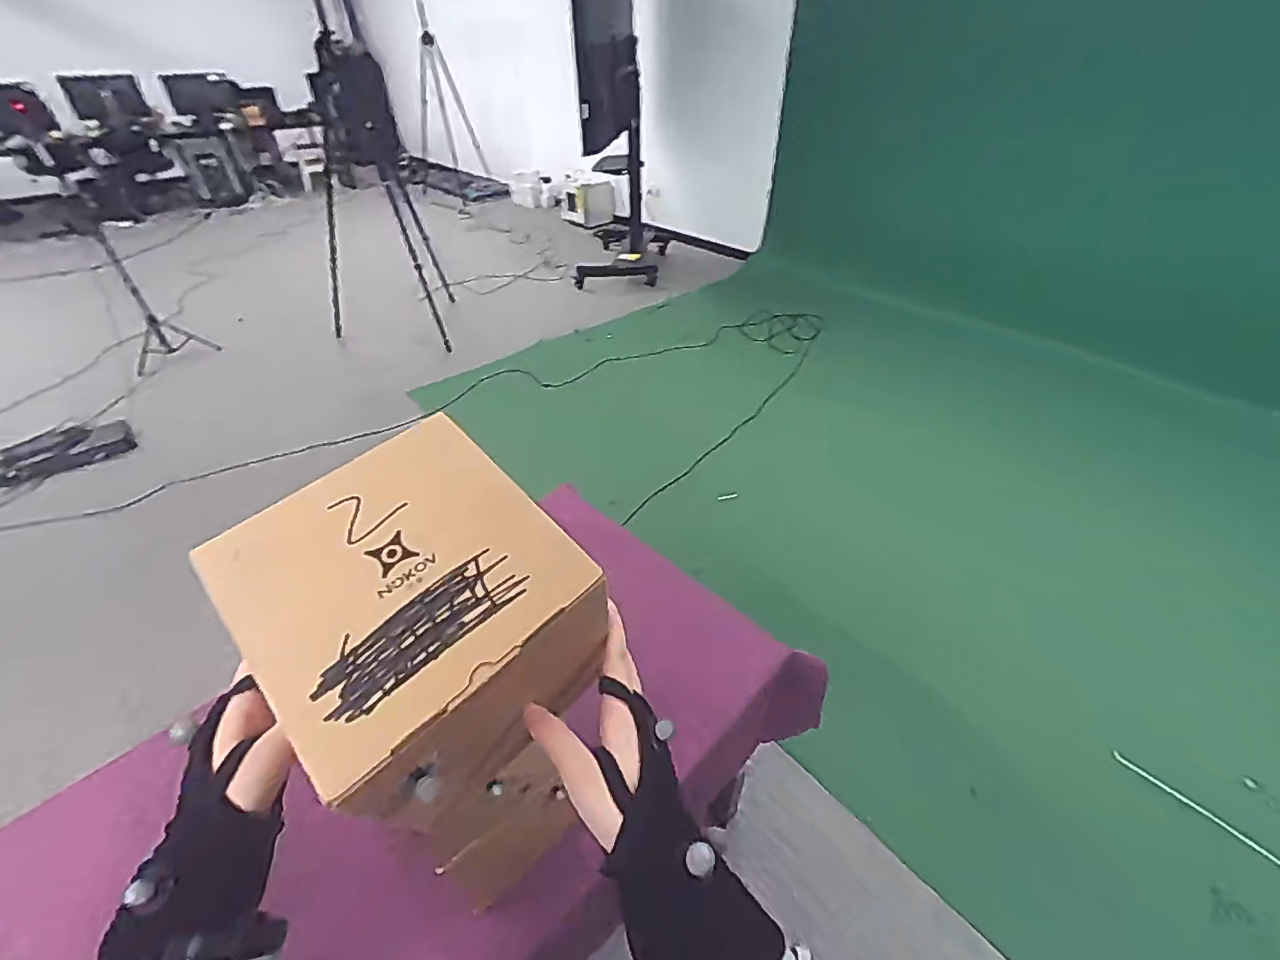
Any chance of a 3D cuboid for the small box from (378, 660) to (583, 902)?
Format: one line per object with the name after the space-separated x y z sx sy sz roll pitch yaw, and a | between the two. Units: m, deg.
-0.189 0.373 0.677 0.179 0.176 0.168 -31 48 -31 | small box
